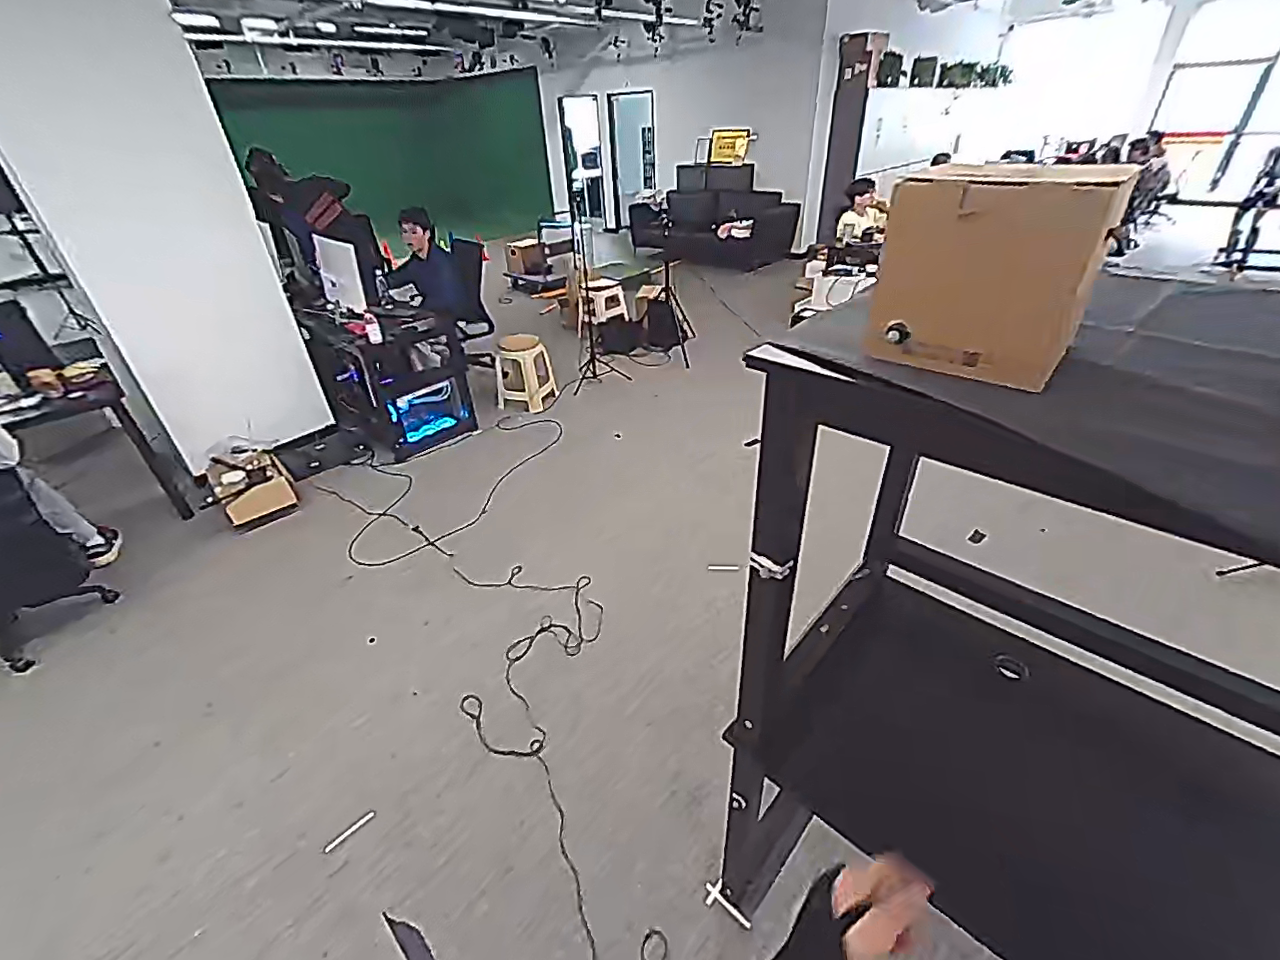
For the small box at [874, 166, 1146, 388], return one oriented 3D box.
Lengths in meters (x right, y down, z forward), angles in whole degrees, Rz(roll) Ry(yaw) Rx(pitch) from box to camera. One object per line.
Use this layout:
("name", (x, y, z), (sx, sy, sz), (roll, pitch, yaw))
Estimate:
("small box", (0.349, -0.205, 0.533), (0.168, 0.176, 0.179), (25, 42, 34))
